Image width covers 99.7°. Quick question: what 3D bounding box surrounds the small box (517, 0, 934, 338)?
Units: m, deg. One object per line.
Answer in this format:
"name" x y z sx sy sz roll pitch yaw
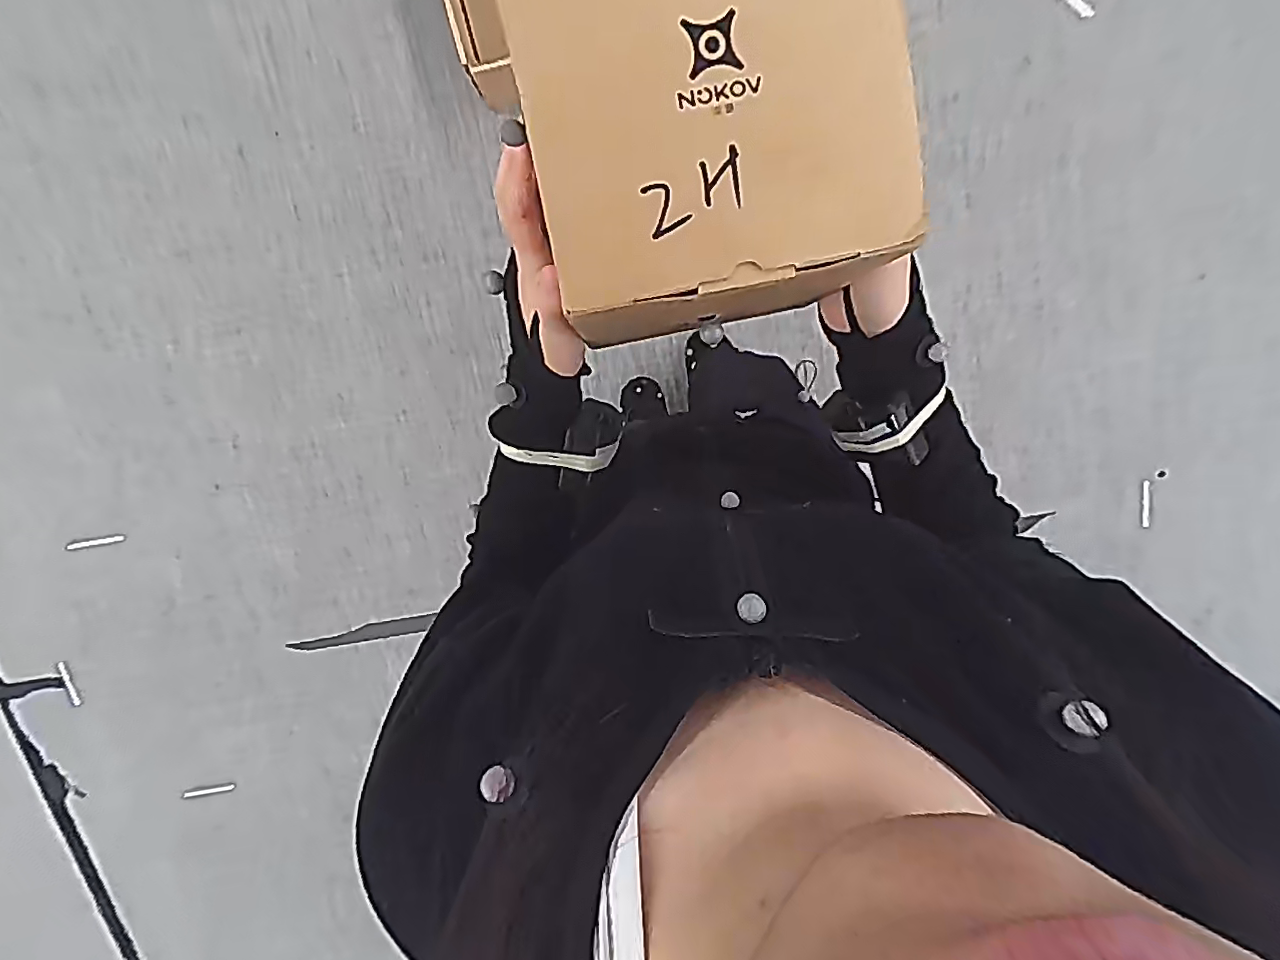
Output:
"small box" 0.031 -0.190 0.305 0.168 0.176 0.179 -11 99 0
